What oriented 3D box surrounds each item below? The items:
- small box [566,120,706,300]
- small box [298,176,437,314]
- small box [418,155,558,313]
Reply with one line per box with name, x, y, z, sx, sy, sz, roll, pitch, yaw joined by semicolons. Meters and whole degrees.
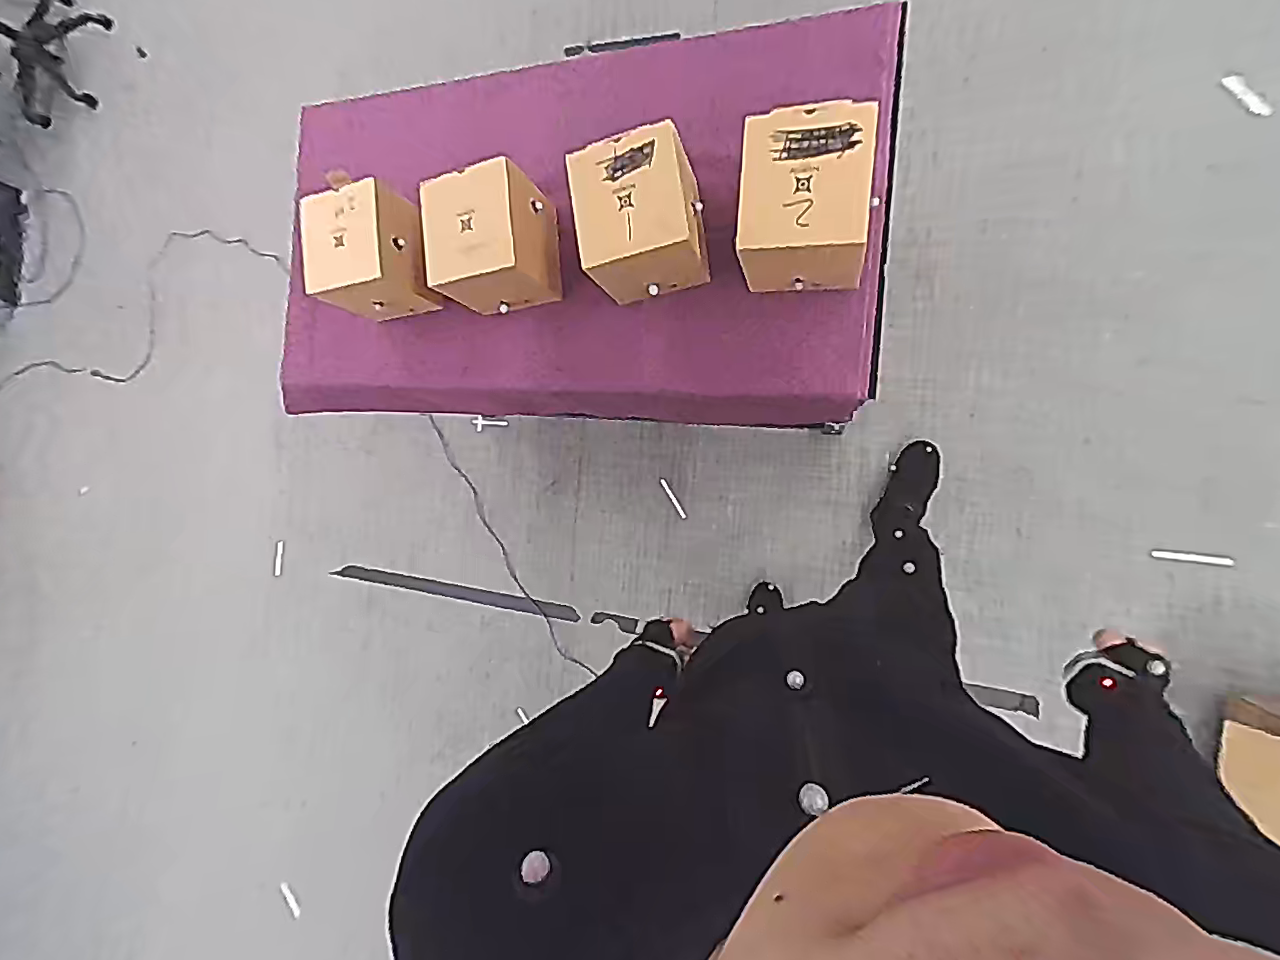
small box;0.001;-0.408;0.849;0.168;0.176;0.179;-9;87;17
small box;-0.496;-0.419;1.003;0.168;0.176;0.179;-4;88;16
small box;-0.254;-0.409;0.929;0.168;0.176;0.179;-5;88;18
